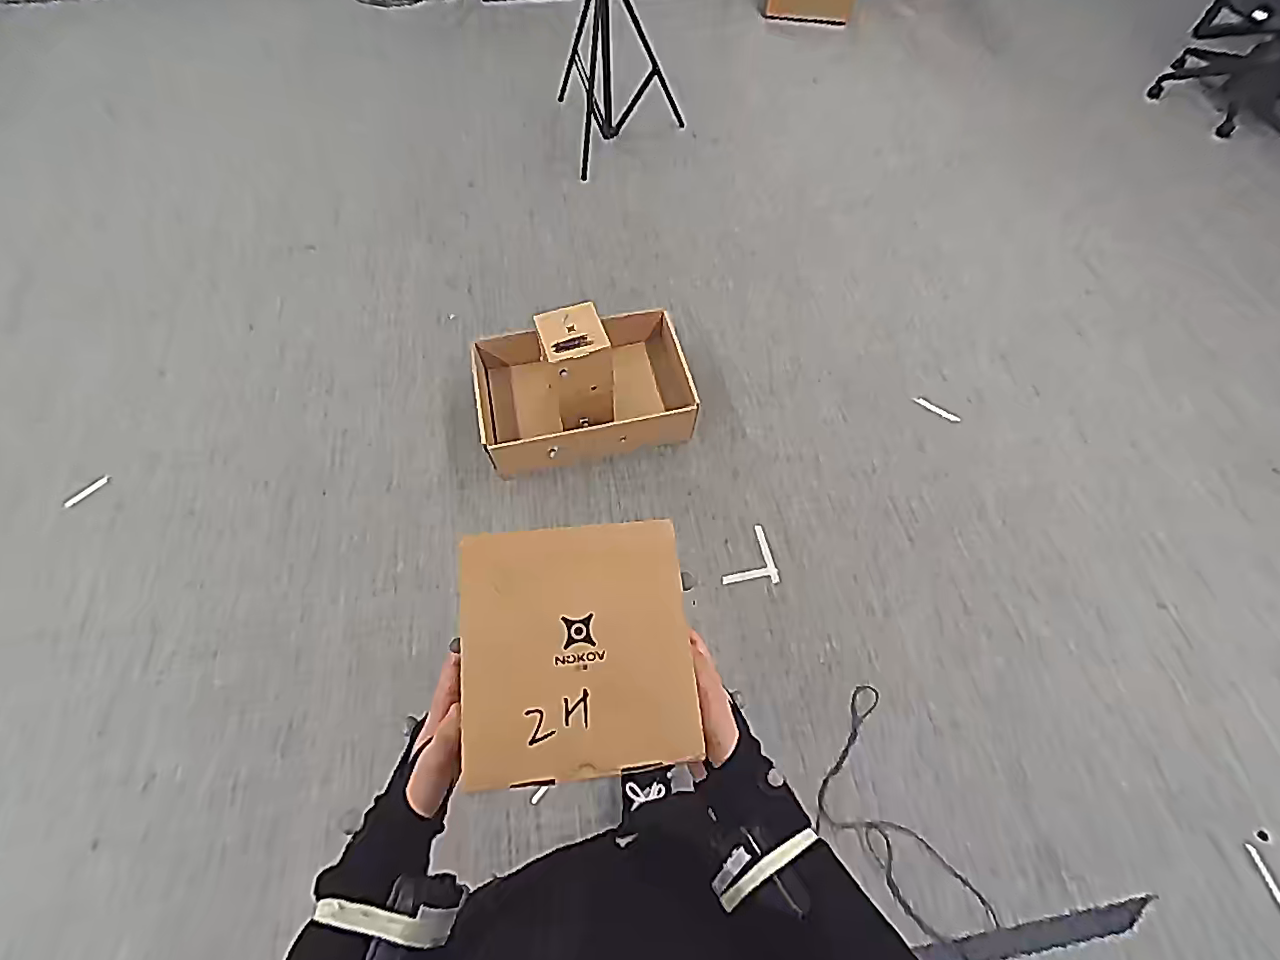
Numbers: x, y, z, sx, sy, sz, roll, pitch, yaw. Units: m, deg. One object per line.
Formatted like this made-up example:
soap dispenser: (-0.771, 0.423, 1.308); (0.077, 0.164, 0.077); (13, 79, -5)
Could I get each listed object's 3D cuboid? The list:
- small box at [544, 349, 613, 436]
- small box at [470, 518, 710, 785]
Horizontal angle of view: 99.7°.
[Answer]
small box: (-0.183, -0.261, 1.630); (0.168, 0.176, 0.179); (-17, 64, -9)
small box: (-0.049, 0.145, 0.469); (0.168, 0.176, 0.179); (-4, 70, -8)
